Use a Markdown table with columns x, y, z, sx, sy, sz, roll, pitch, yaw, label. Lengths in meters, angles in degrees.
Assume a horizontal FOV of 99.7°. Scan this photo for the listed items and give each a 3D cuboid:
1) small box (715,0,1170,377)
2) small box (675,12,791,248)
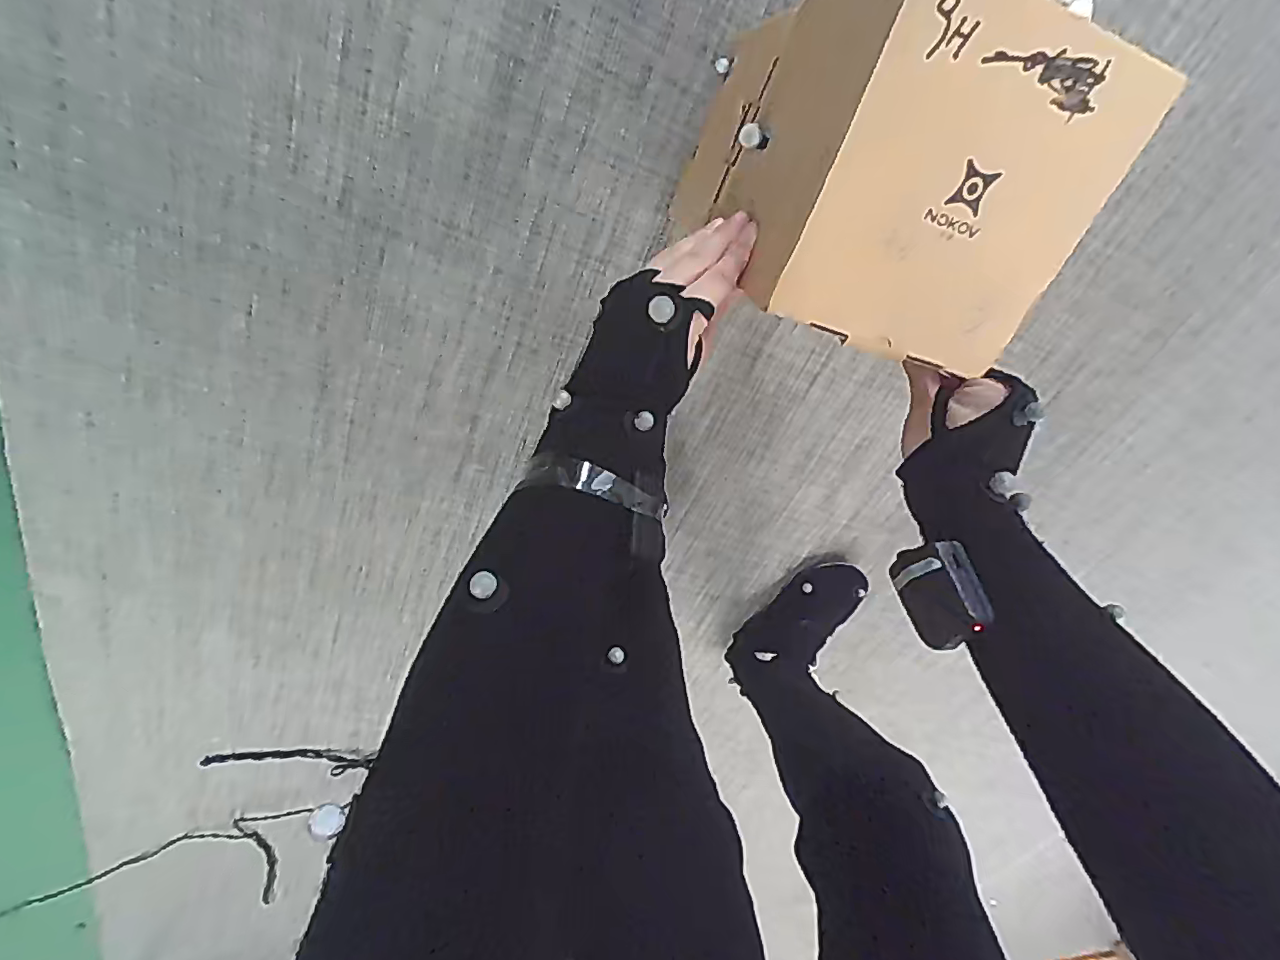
| x | y | z | sx | sy | sz | roll | pitch | yaw | label |
| --- | --- | --- | --- | --- | --- | --- | --- | --- | --- |
| 0.163 | -0.199 | 0.366 | 0.168 | 0.176 | 0.179 | 11 | 122 | -15 | small box |
| 0.148 | -0.284 | 0.504 | 0.179 | 0.176 | 0.168 | 15 | 120 | -18 | small box |
